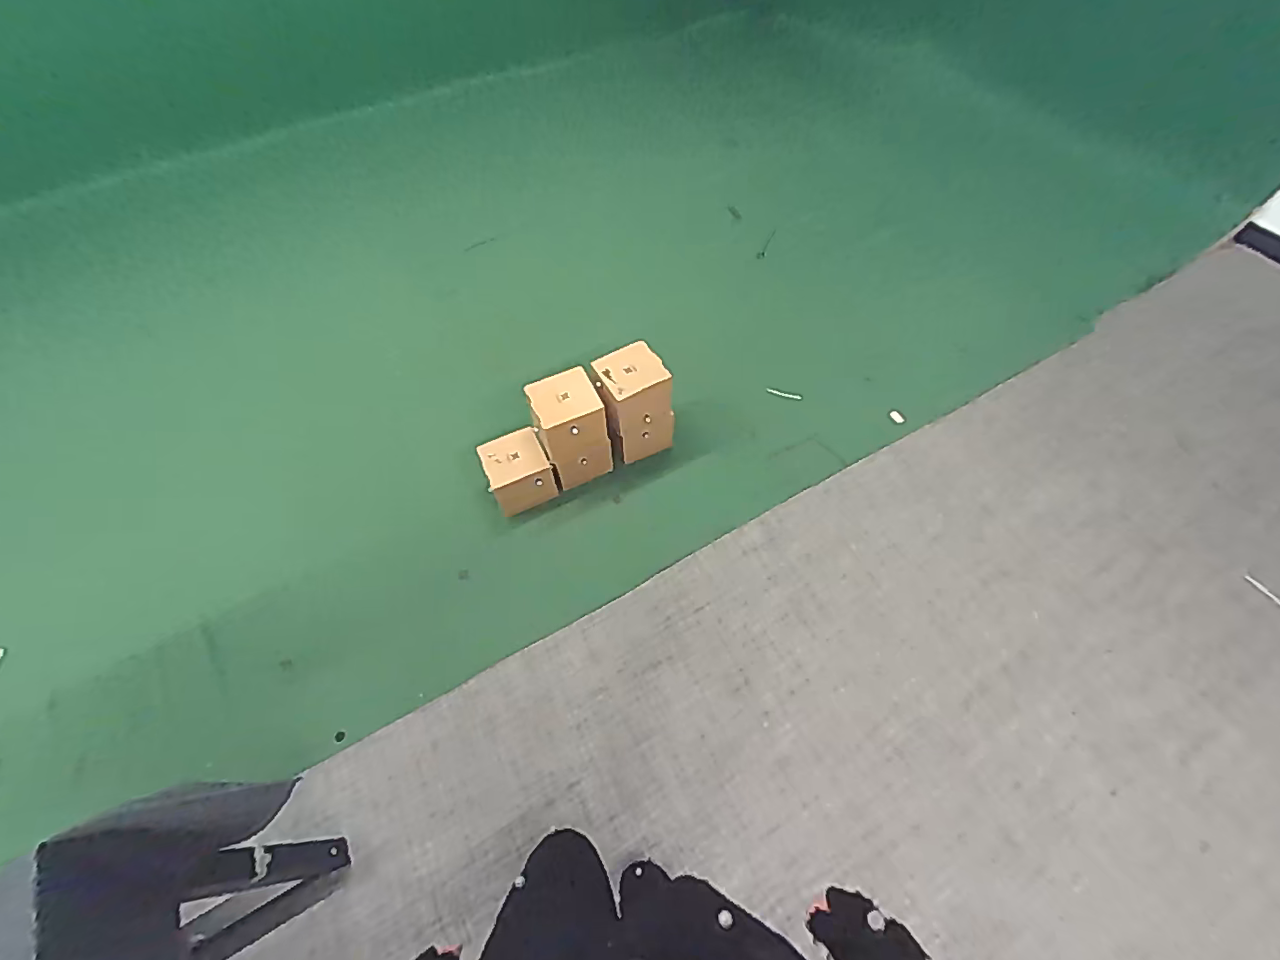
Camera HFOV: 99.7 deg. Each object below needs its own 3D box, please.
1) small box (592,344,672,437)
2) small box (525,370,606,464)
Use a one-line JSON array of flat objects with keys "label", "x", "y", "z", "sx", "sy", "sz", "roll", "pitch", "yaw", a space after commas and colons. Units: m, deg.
[{"label": "small box", "x": -0.025, "y": -0.257, "z": 1.576, "sx": 0.179, "sy": 0.176, "sz": 0.168, "roll": -26, "pitch": 61, "yaw": -15}, {"label": "small box", "x": -0.204, "y": -0.176, "z": 1.533, "sx": 0.179, "sy": 0.176, "sz": 0.168, "roll": -23, "pitch": 61, "yaw": -11}]
